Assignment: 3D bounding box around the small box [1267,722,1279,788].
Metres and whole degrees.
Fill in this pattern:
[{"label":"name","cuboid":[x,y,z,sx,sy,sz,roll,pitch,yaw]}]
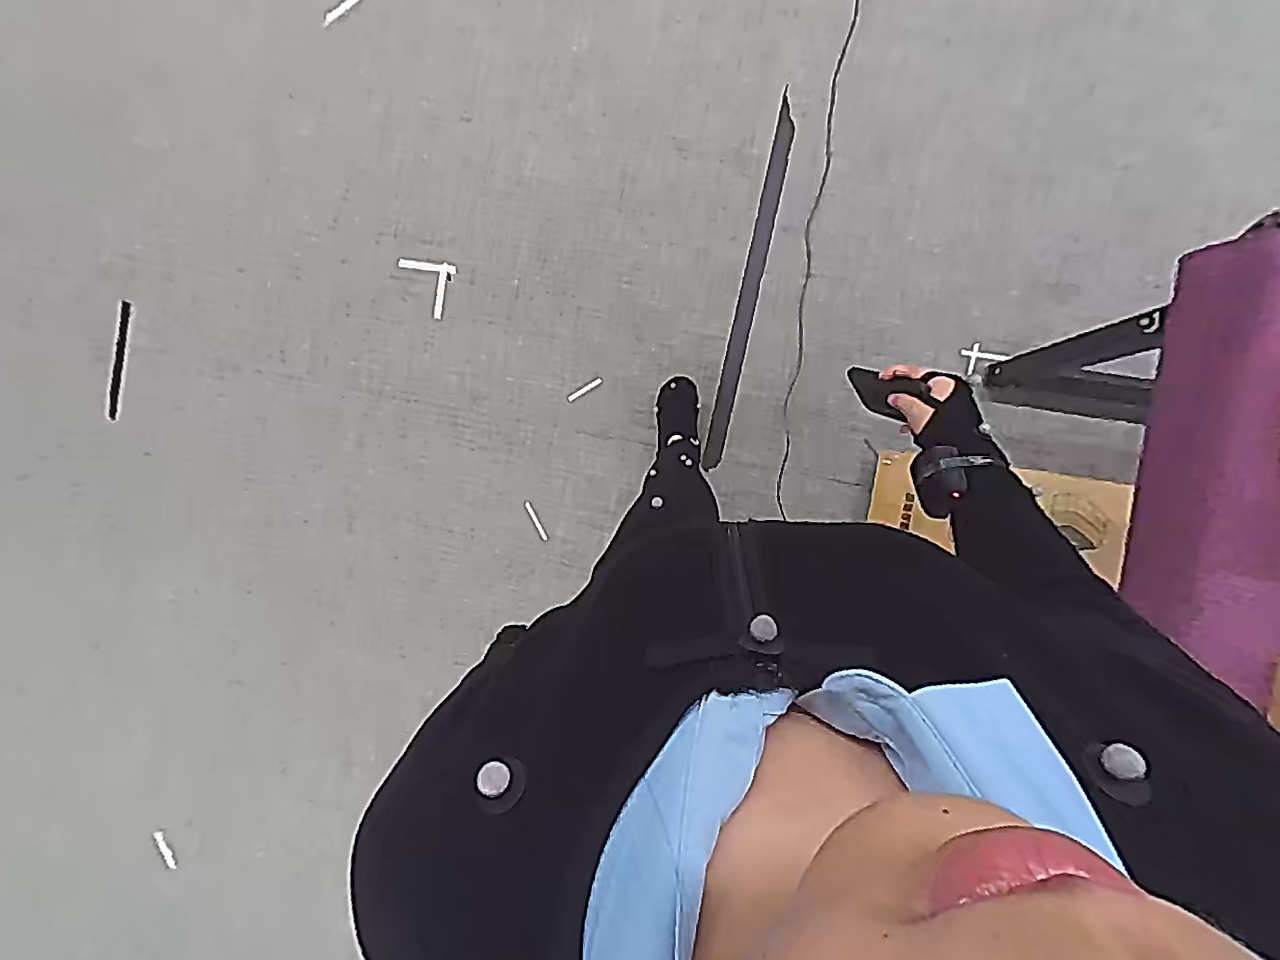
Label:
[{"label":"small box","cuboid":[0.870,0.325,0.593,0.168,0.176,0.179,9,92,3]}]
